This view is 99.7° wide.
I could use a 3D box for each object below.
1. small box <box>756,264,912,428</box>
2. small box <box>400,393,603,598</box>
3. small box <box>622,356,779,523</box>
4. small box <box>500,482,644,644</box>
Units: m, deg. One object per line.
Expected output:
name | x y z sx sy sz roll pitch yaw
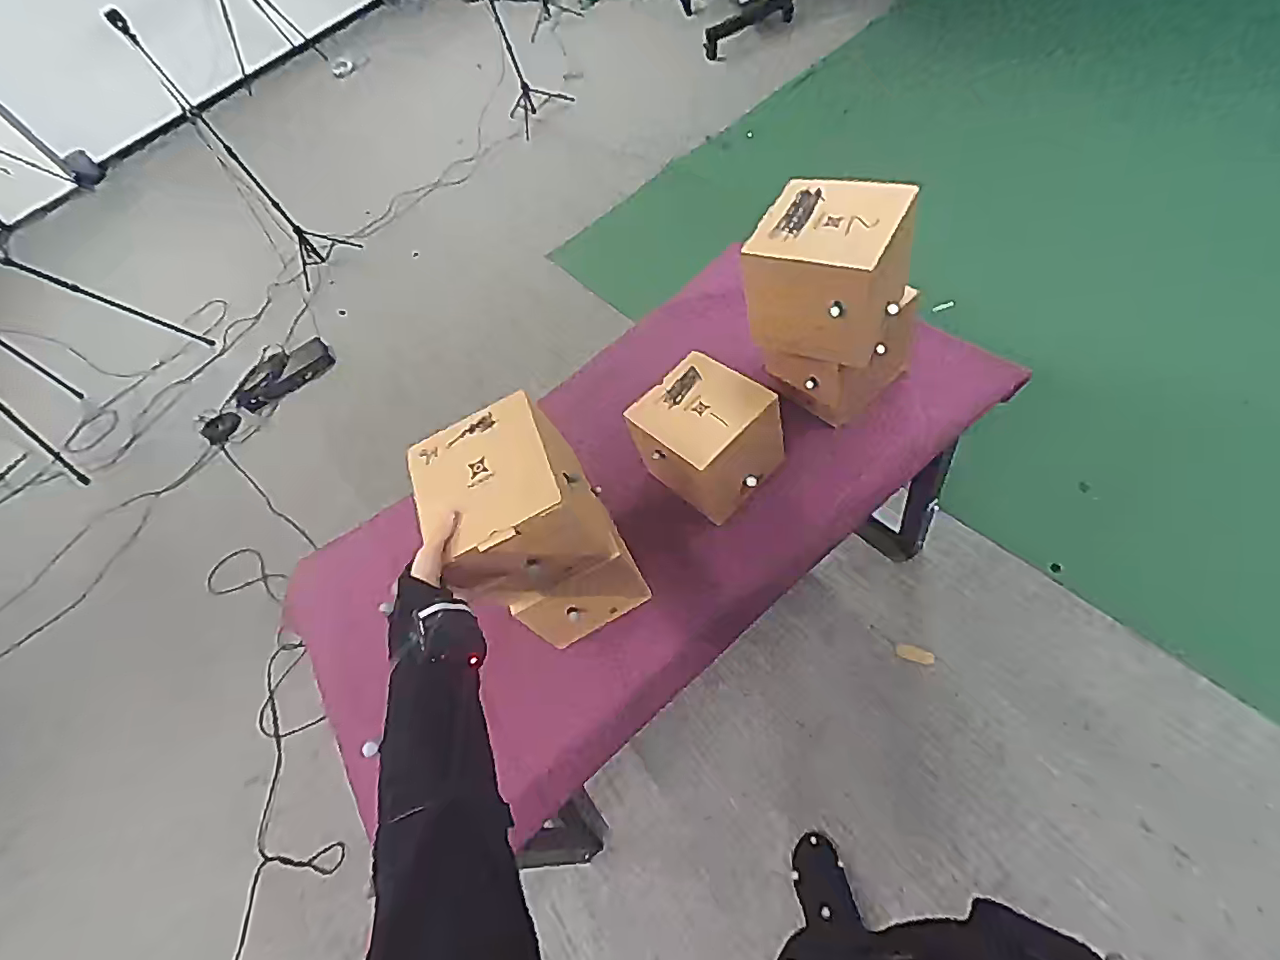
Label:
small box | 0.322 -0.219 0.905 0.179 0.176 0.168 -38 53 -9
small box | -0.164 0.032 0.675 0.168 0.176 0.179 -27 60 3
small box | 0.103 -0.061 0.870 0.168 0.176 0.179 -43 55 -12
small box | -0.113 0.126 0.815 0.168 0.176 0.179 -29 52 -2
